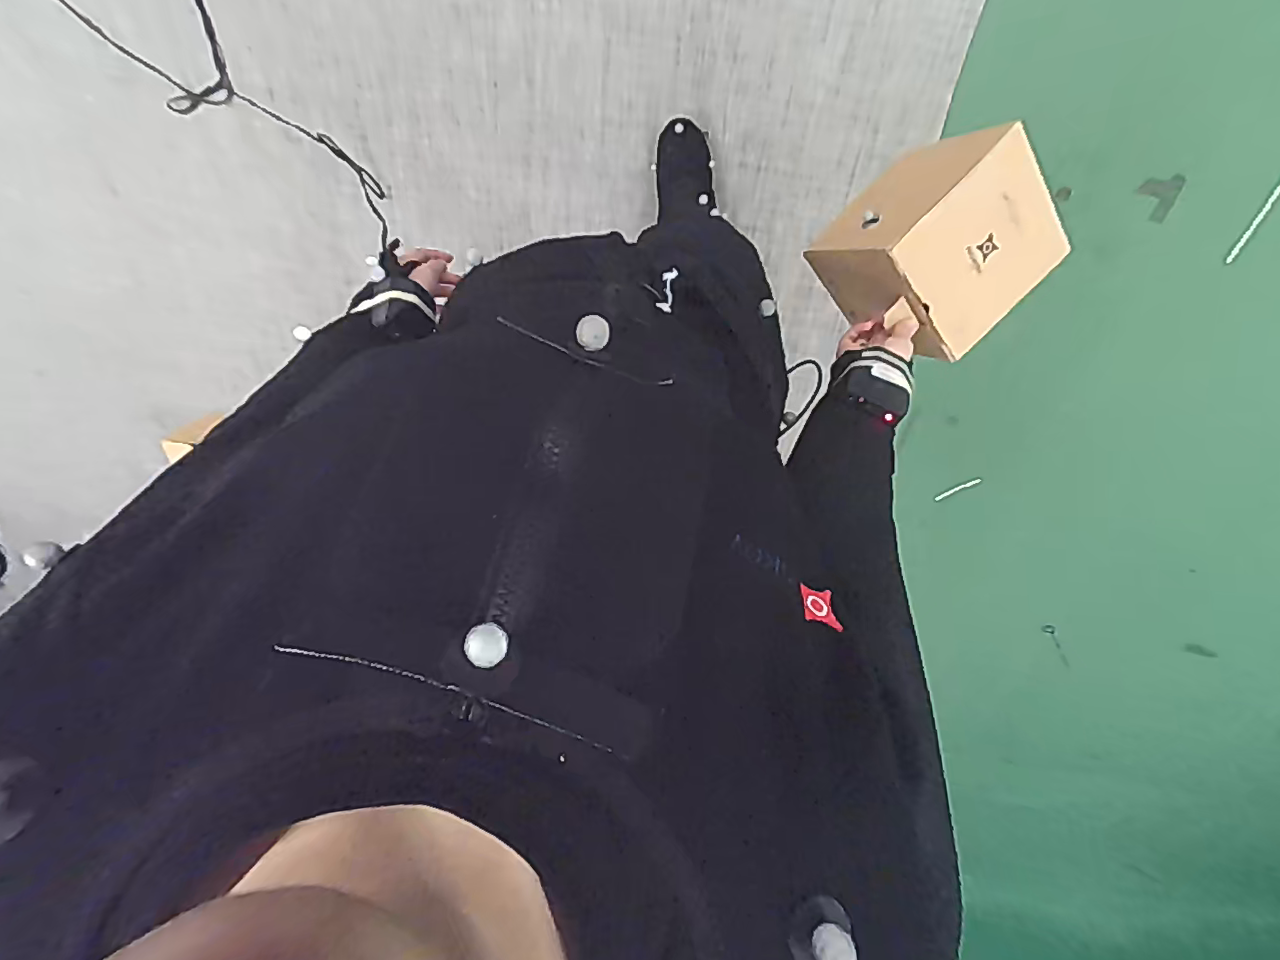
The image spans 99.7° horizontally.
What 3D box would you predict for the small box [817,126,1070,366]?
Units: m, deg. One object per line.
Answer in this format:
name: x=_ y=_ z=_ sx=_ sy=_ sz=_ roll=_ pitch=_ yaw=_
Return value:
small box: x=0.337 y=-0.263 z=0.636 sx=0.179 sy=0.176 sz=0.168 roll=-47 pitch=117 yaw=4
